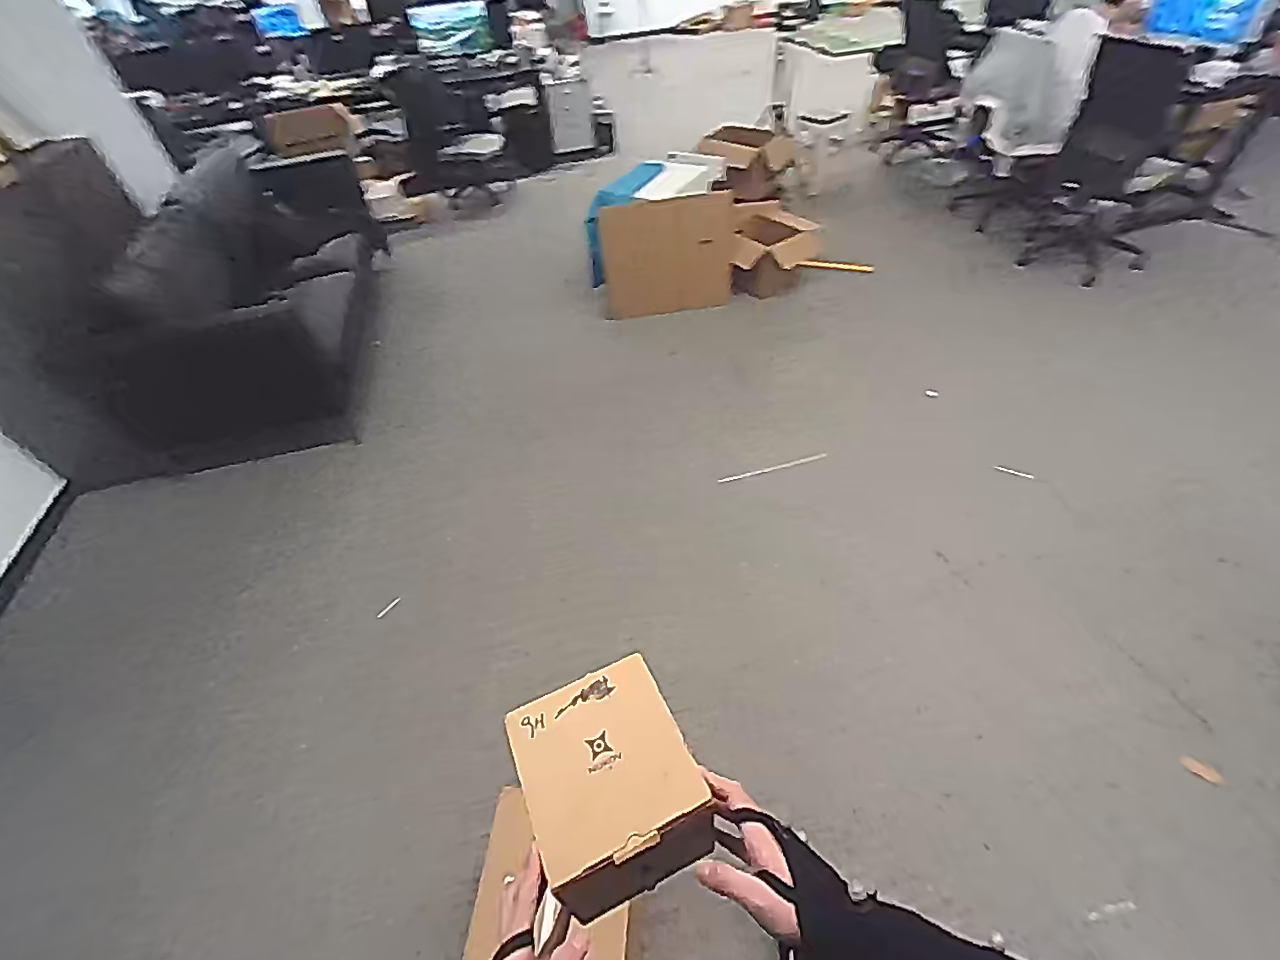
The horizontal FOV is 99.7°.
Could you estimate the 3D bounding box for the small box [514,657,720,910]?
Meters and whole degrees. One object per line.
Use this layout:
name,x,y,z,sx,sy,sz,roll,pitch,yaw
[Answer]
small box,-0.022,0.338,0.598,0.168,0.176,0.179,-20,44,-14
